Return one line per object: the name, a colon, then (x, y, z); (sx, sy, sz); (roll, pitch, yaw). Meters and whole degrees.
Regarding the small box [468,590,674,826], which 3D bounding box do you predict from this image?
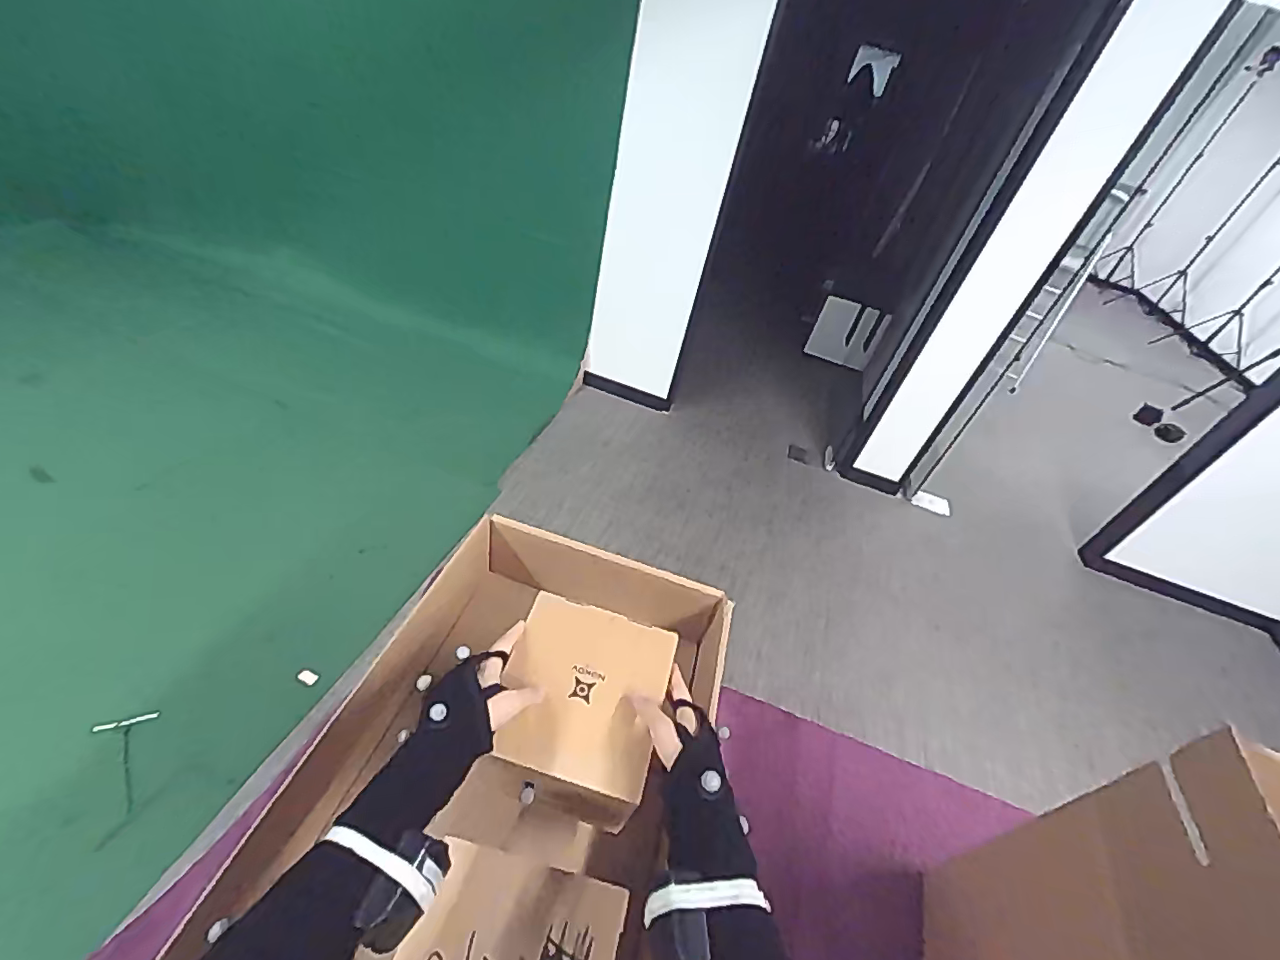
small box: (-0.071, 0.260, 0.610); (0.168, 0.176, 0.179); (16, 47, 4)
